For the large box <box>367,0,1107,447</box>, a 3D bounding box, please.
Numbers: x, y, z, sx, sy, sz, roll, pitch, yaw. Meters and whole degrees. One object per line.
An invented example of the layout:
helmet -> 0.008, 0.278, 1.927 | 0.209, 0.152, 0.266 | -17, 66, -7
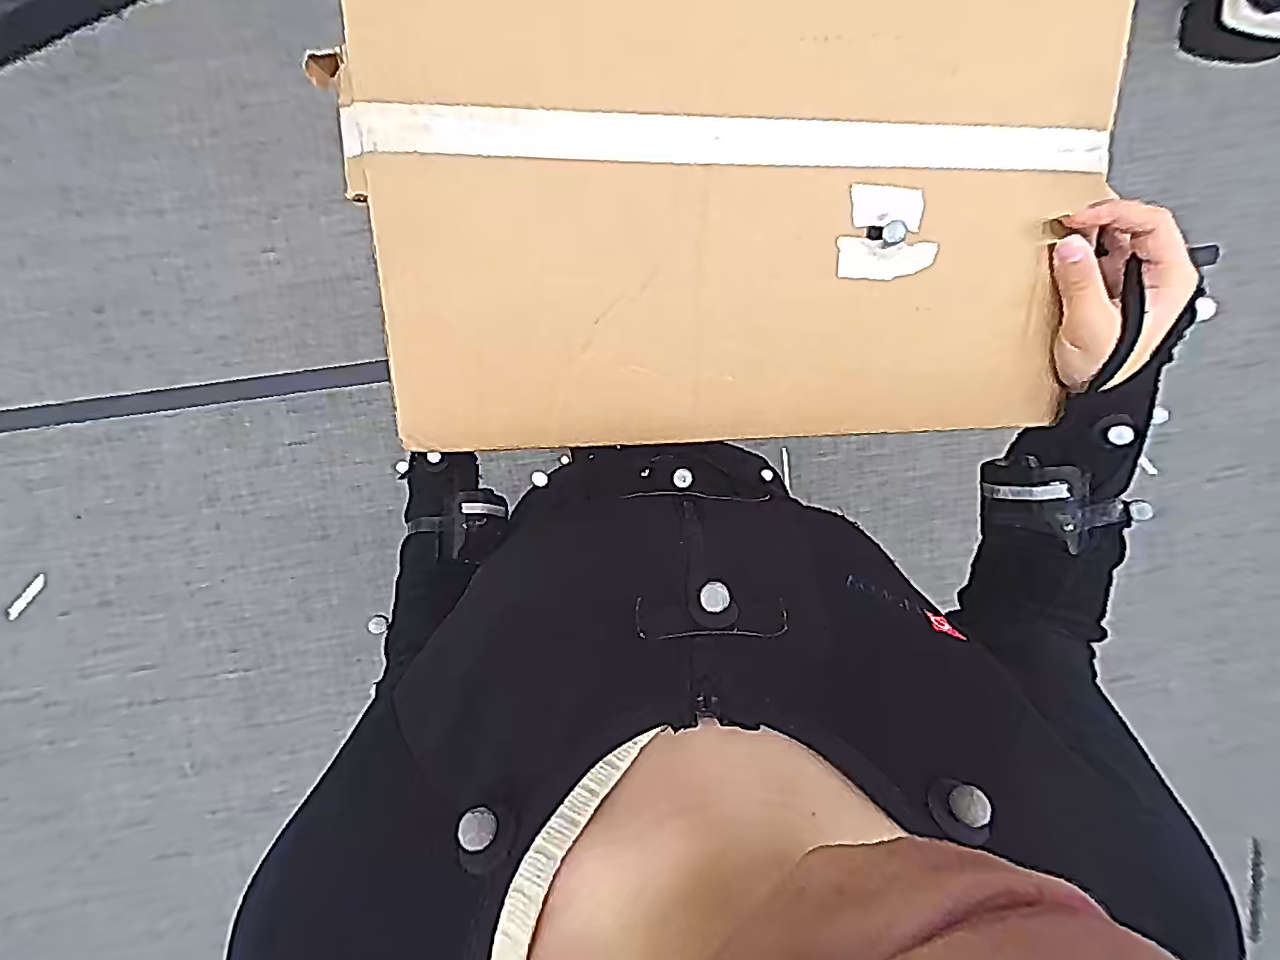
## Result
large box -> 0.042, -0.213, 0.437 | 0.408, 0.320, 0.320 | -3, 104, -10
